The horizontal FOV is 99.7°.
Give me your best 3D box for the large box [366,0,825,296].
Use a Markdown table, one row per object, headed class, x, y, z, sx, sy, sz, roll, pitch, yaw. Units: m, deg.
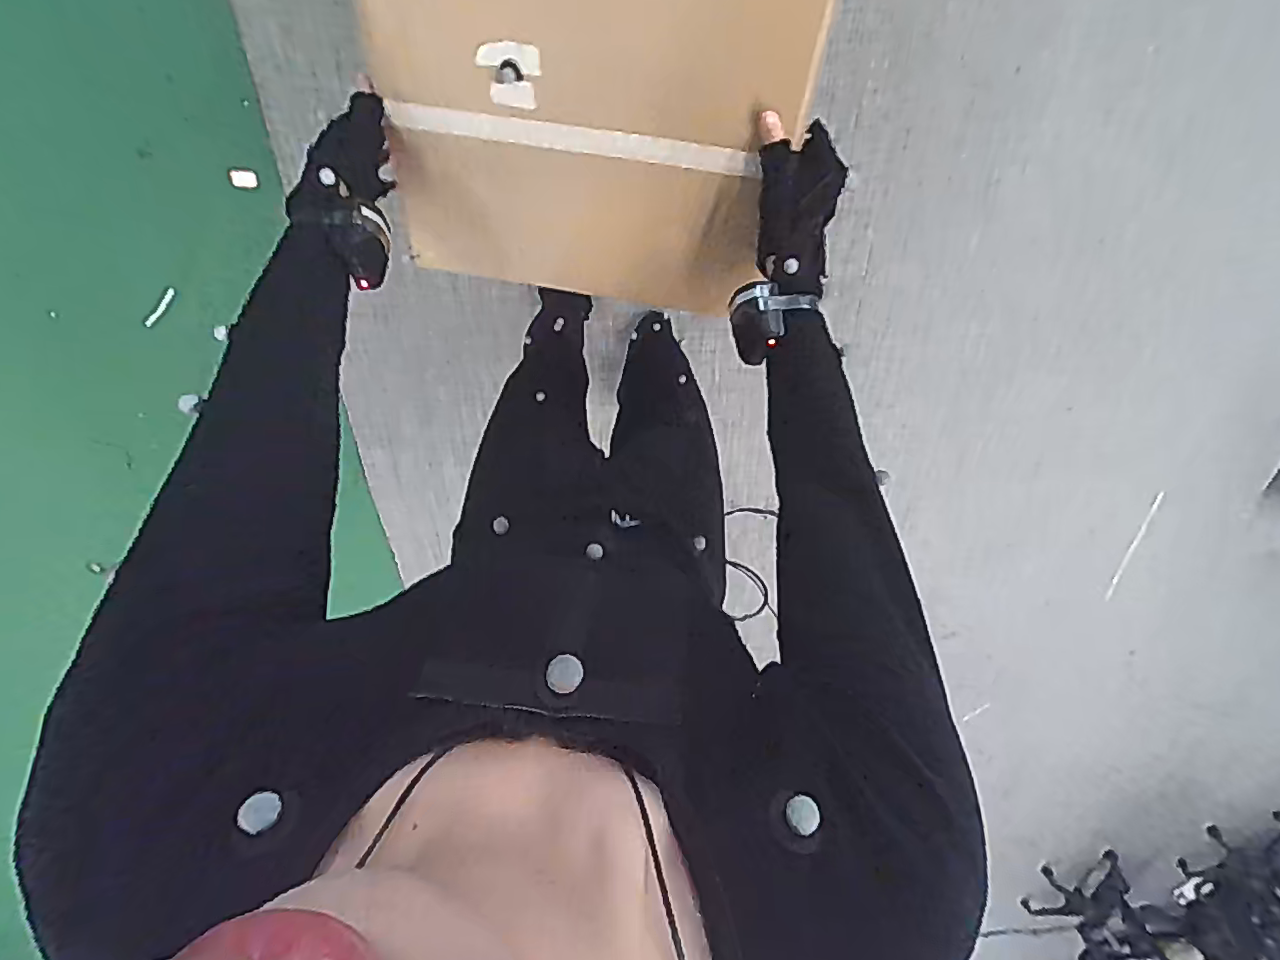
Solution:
| class | x | y | z | sx | sy | sz | roll | pitch | yaw |
| --- | --- | --- | --- | --- | --- | --- | --- | --- | --- |
| large box | -0.029 | -0.451 | 0.621 | 0.408 | 0.320 | 0.320 | 11 | 135 | 3 |
